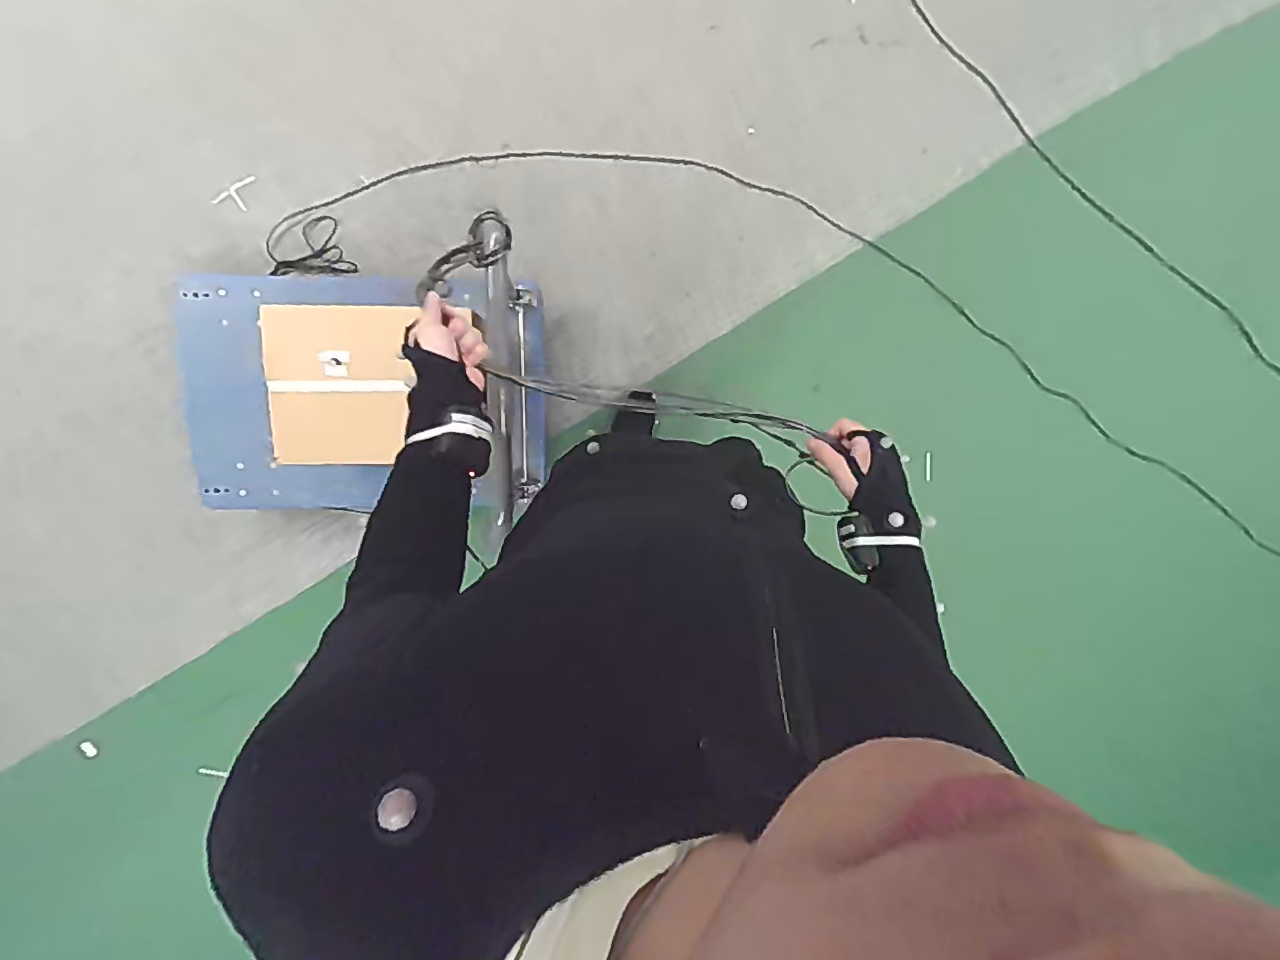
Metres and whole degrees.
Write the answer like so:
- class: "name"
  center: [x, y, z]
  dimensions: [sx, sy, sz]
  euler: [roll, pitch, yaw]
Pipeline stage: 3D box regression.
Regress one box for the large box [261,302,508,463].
- class: "large box"
  center: [-0.532, -0.212, 1.211]
  dimensions: [0.408, 0.320, 0.320]
  euler: [0, 98, -3]
